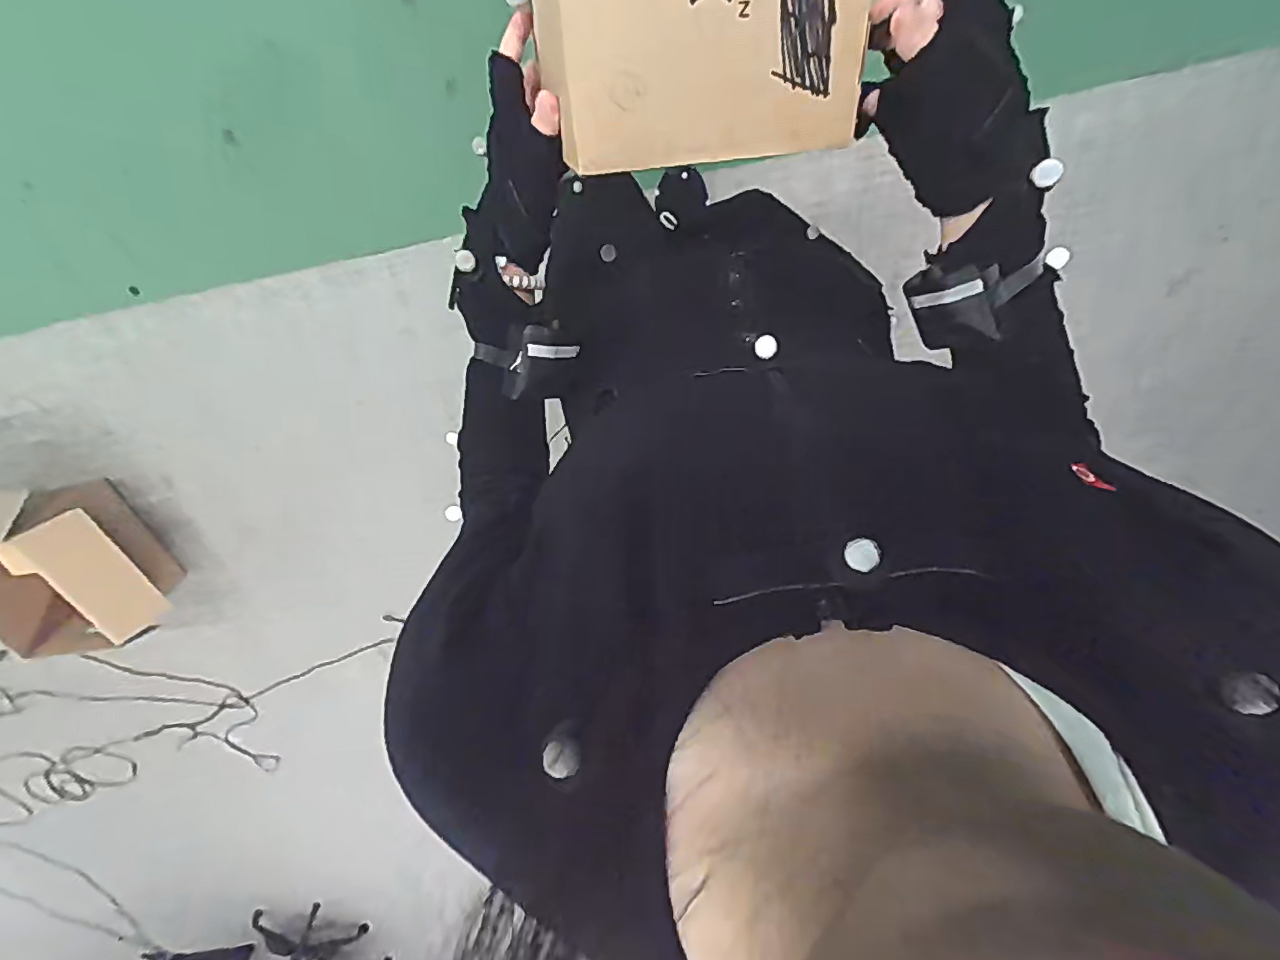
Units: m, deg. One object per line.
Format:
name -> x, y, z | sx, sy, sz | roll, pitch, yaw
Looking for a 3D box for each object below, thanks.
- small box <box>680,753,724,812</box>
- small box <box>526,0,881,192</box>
small box -> 0.280, 1.367, 2.445 | 0.168, 0.176, 0.179 | -12, 122, 6
small box -> 0.026, -0.290, 0.331 | 0.179, 0.176, 0.168 | -11, 129, -8
